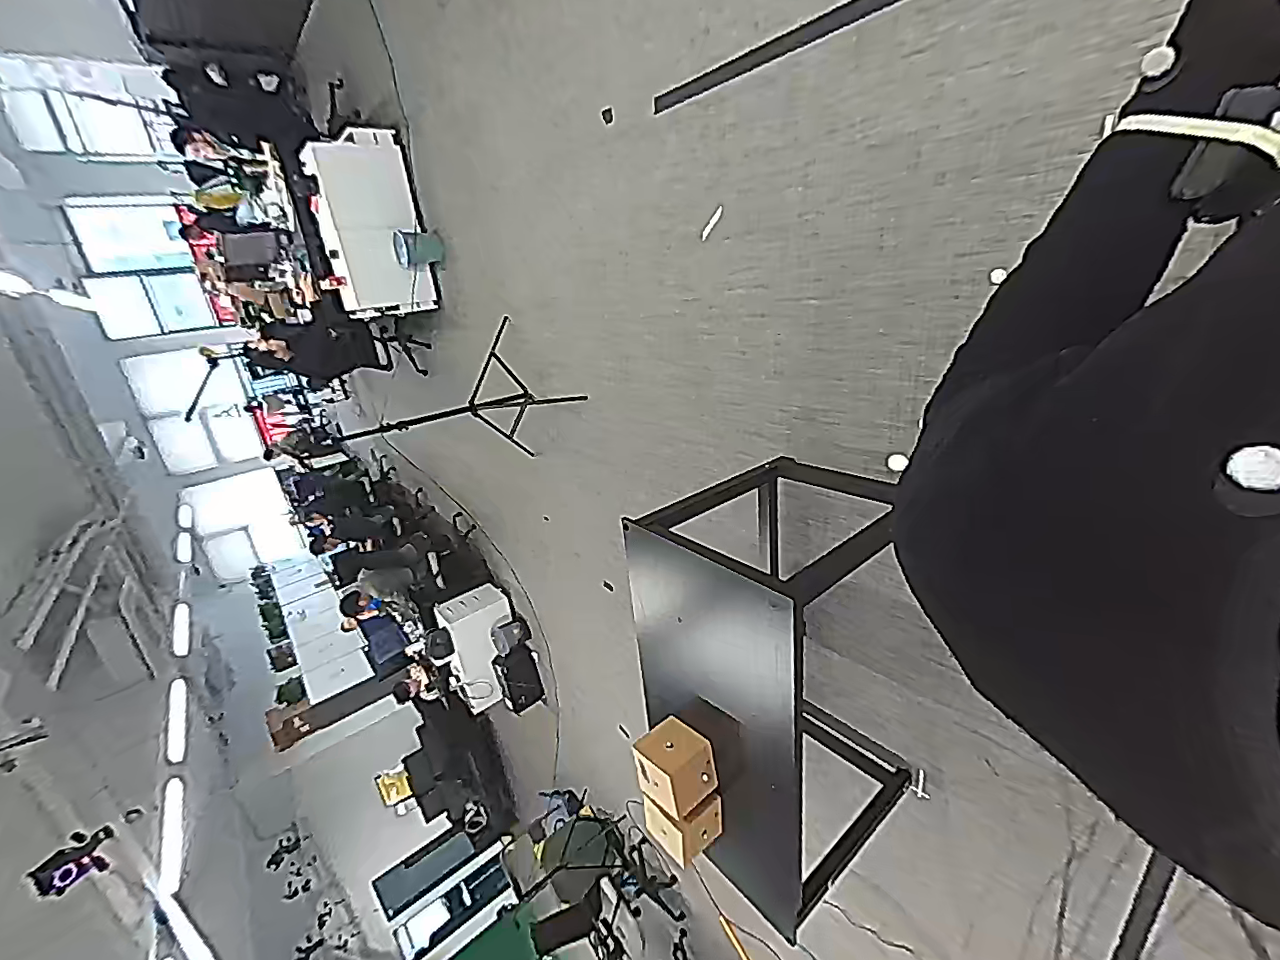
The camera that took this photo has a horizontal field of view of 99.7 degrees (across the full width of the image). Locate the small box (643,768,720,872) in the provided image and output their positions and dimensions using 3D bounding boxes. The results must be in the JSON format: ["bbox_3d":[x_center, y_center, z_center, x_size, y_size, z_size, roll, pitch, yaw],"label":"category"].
[{"bbox_3d":[0.131,1.035,1.663,0.179,0.176,0.168,24,125,48],"label":"small box"}]
